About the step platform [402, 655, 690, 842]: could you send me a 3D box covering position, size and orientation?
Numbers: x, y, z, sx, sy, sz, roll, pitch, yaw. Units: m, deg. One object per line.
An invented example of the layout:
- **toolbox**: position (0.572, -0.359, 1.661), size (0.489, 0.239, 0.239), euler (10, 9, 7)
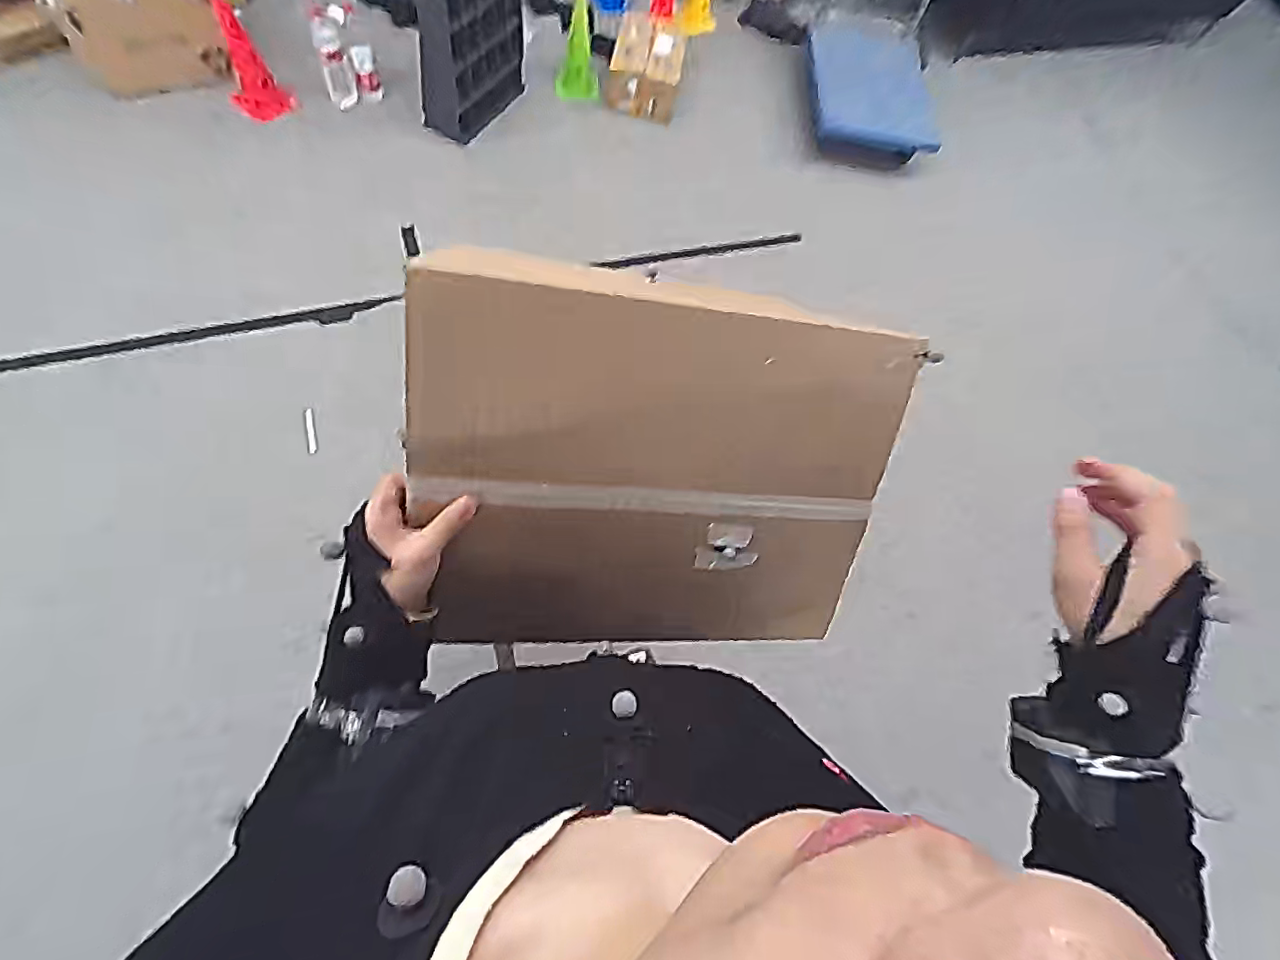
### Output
- **step platform**: position (-0.222, 0.647, 1.351), size (0.684, 0.204, 0.286), euler (-8, 69, -14)

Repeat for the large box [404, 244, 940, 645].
- **large box**: position (-0.005, -0.058, 0.567), size (0.408, 0.320, 0.320), euler (2, 25, -15)
